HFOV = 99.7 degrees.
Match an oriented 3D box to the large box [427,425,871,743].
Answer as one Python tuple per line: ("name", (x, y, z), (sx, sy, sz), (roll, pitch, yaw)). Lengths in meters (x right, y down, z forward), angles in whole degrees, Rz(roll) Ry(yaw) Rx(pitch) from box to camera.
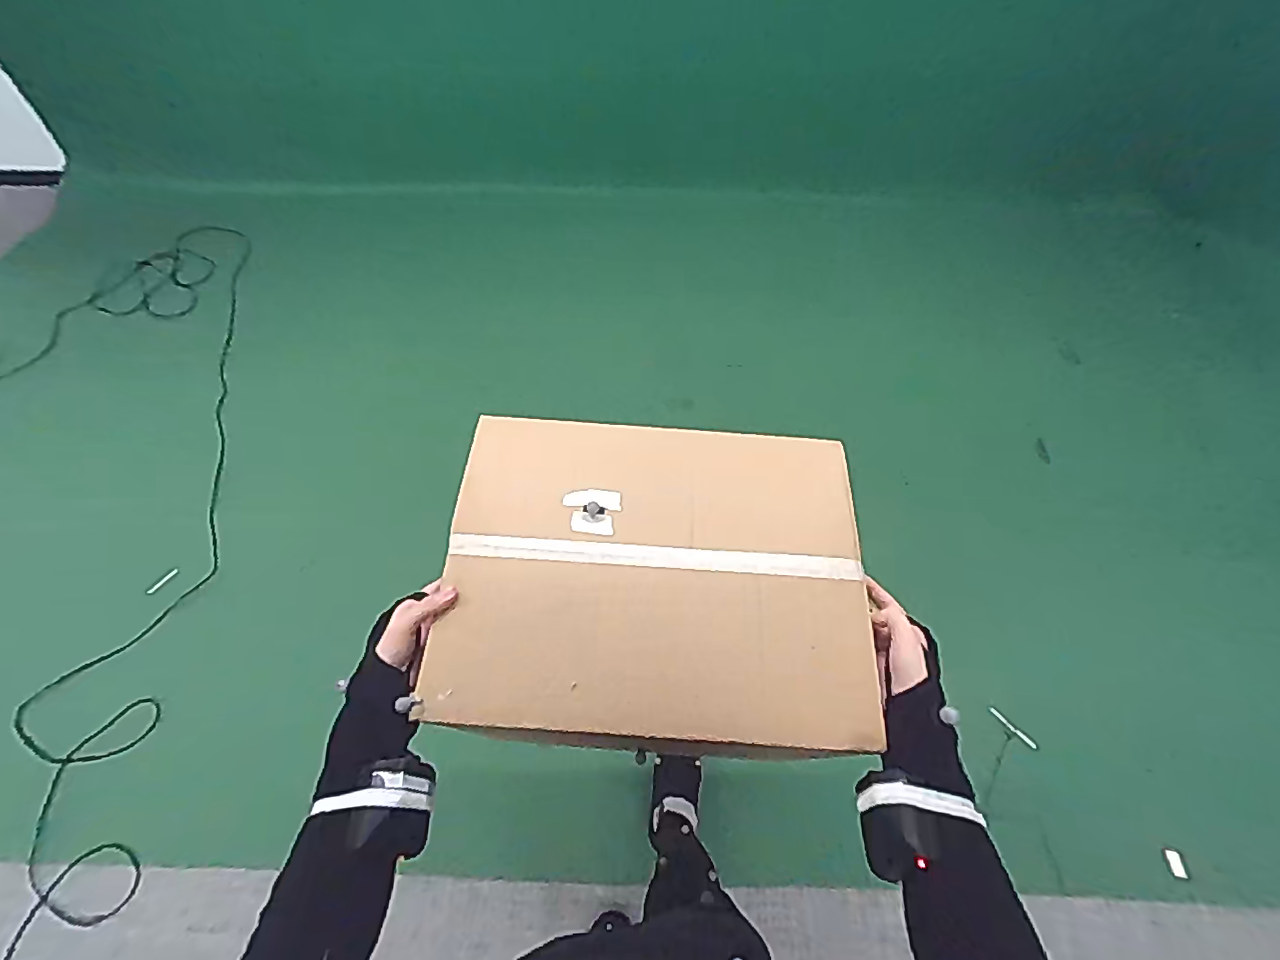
("large box", (0.014, 0.149, 0.678), (0.408, 0.320, 0.320), (4, 61, 1))
